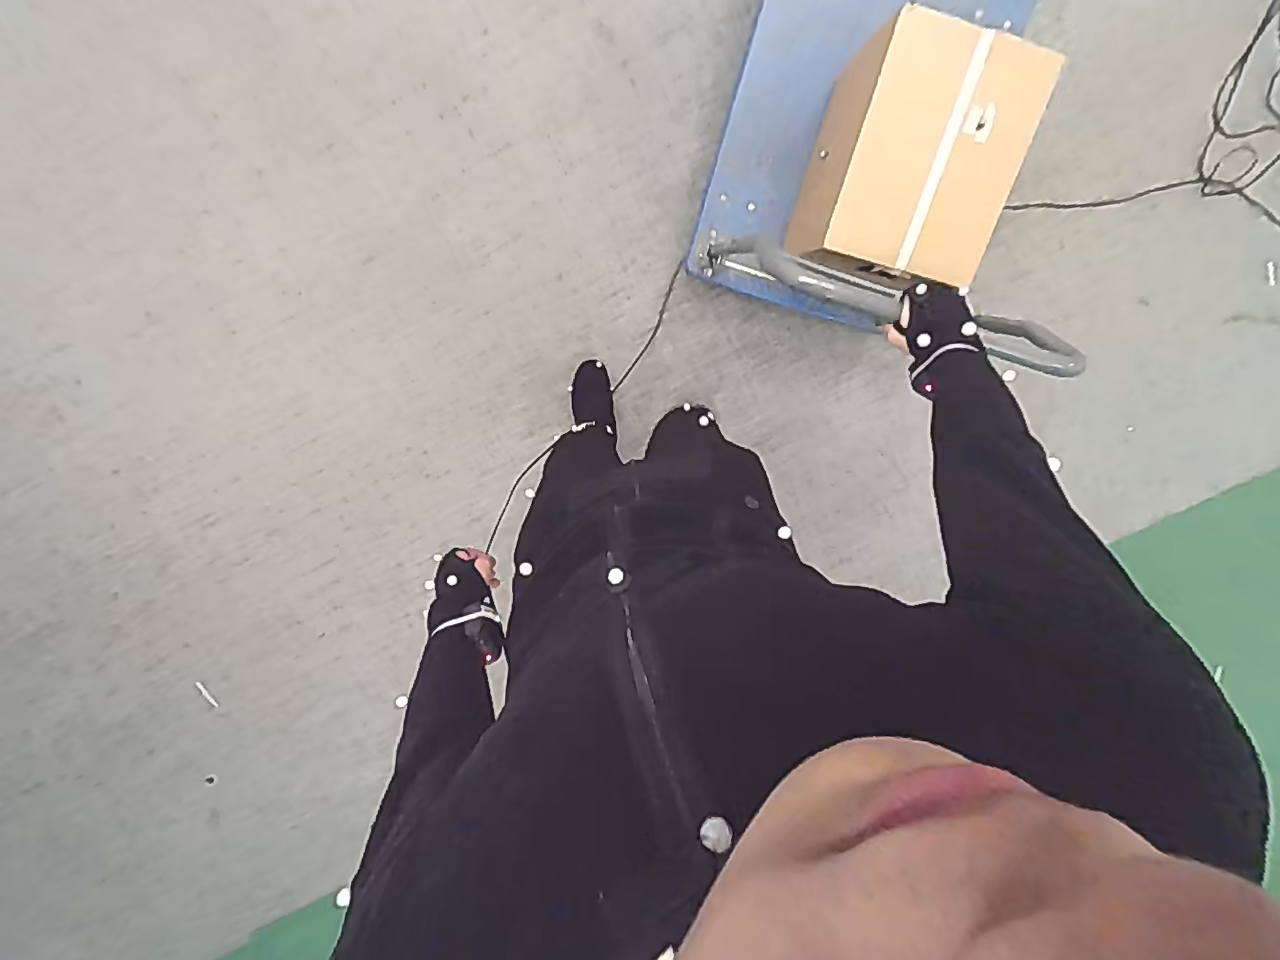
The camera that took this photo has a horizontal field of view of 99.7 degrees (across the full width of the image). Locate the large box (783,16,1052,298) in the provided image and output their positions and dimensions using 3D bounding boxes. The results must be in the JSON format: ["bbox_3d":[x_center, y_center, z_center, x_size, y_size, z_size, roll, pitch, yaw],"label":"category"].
[{"bbox_3d":[0.539,-0.626,1.142,0.320,0.320,0.408,13,106,-7],"label":"large box"}]
